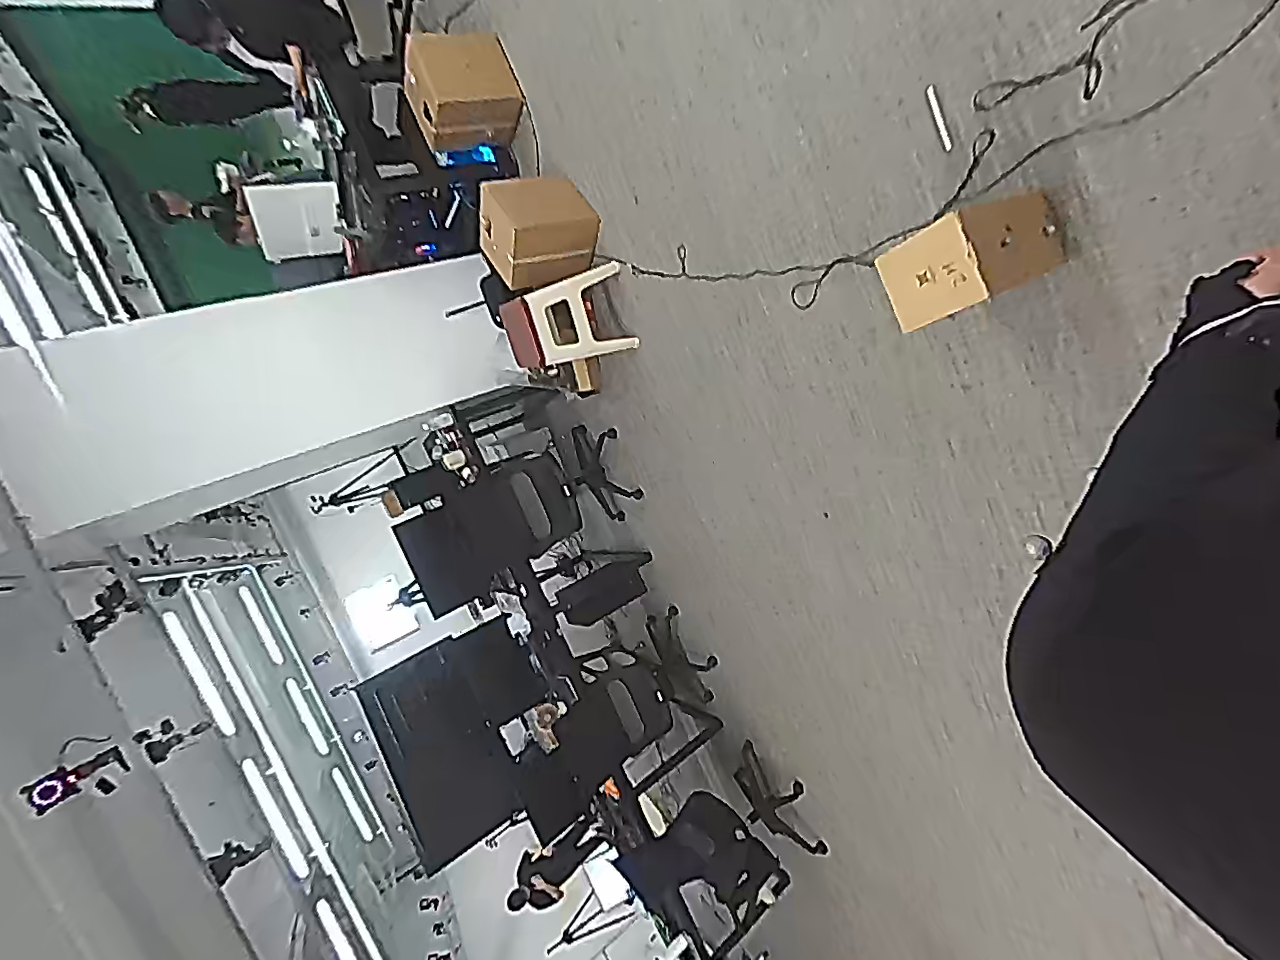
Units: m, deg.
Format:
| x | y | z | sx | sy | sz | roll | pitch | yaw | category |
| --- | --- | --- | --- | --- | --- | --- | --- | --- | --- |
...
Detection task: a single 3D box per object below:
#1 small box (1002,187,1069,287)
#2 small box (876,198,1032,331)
| x | y | z | sx | sy | sz | roll | pitch | yaw | category |
| --- | --- | --- | --- | --- | --- | --- | --- | --- | --- |
| 0.735 | -0.475 | 1.121 | 0.179 | 0.176 | 0.168 | -15 | 100 | 61 | small box |
| 0.603 | -0.413 | 1.043 | 0.179 | 0.176 | 0.168 | -18 | 98 | 62 | small box |
